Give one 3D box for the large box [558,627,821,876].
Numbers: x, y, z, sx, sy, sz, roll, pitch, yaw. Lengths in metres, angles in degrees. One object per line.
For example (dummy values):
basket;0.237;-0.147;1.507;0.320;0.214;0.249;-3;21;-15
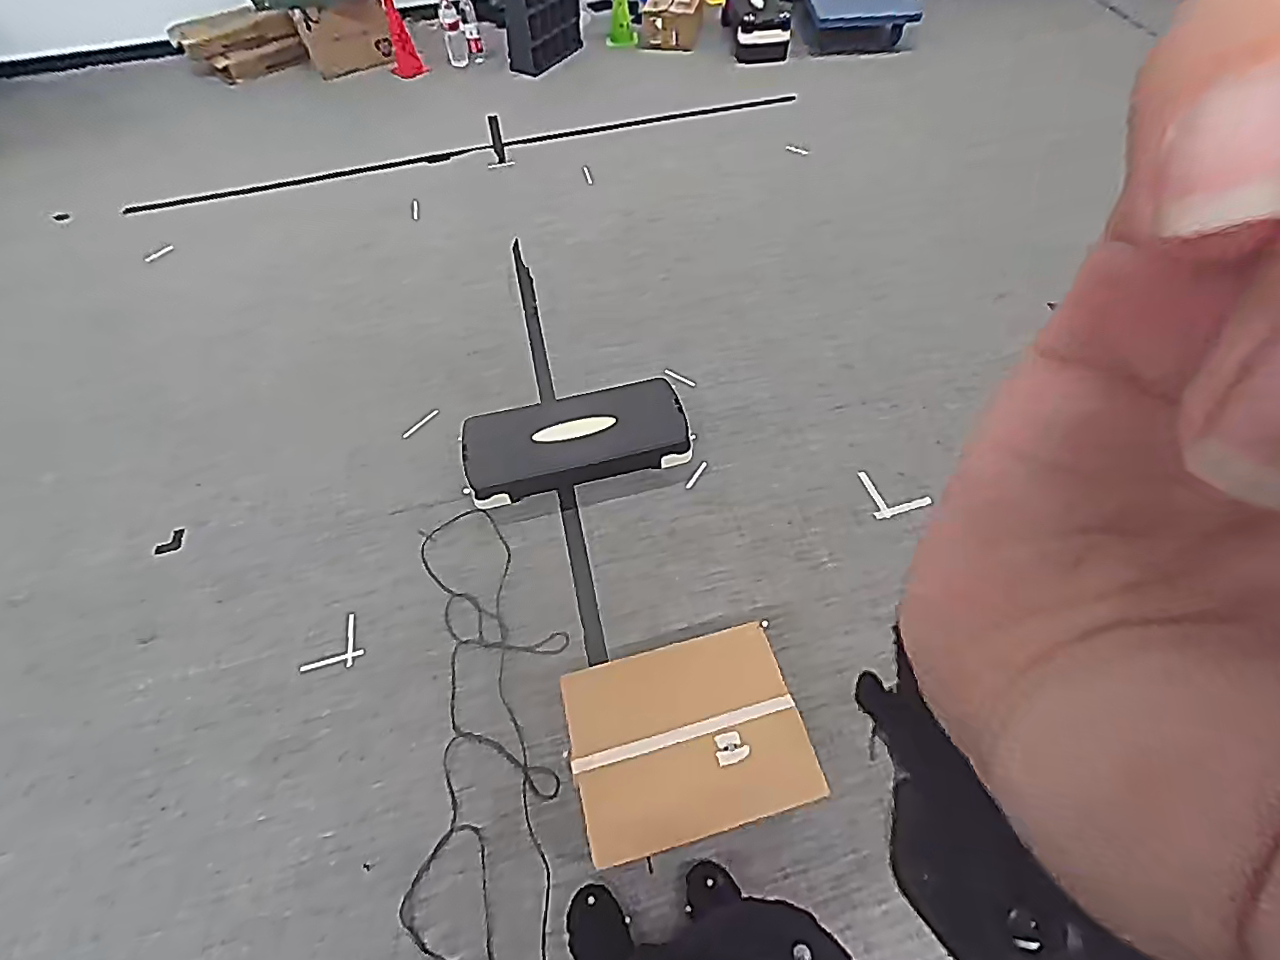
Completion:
large box;0.078;0.541;1.082;0.408;0.320;0.320;-13;57;-8
